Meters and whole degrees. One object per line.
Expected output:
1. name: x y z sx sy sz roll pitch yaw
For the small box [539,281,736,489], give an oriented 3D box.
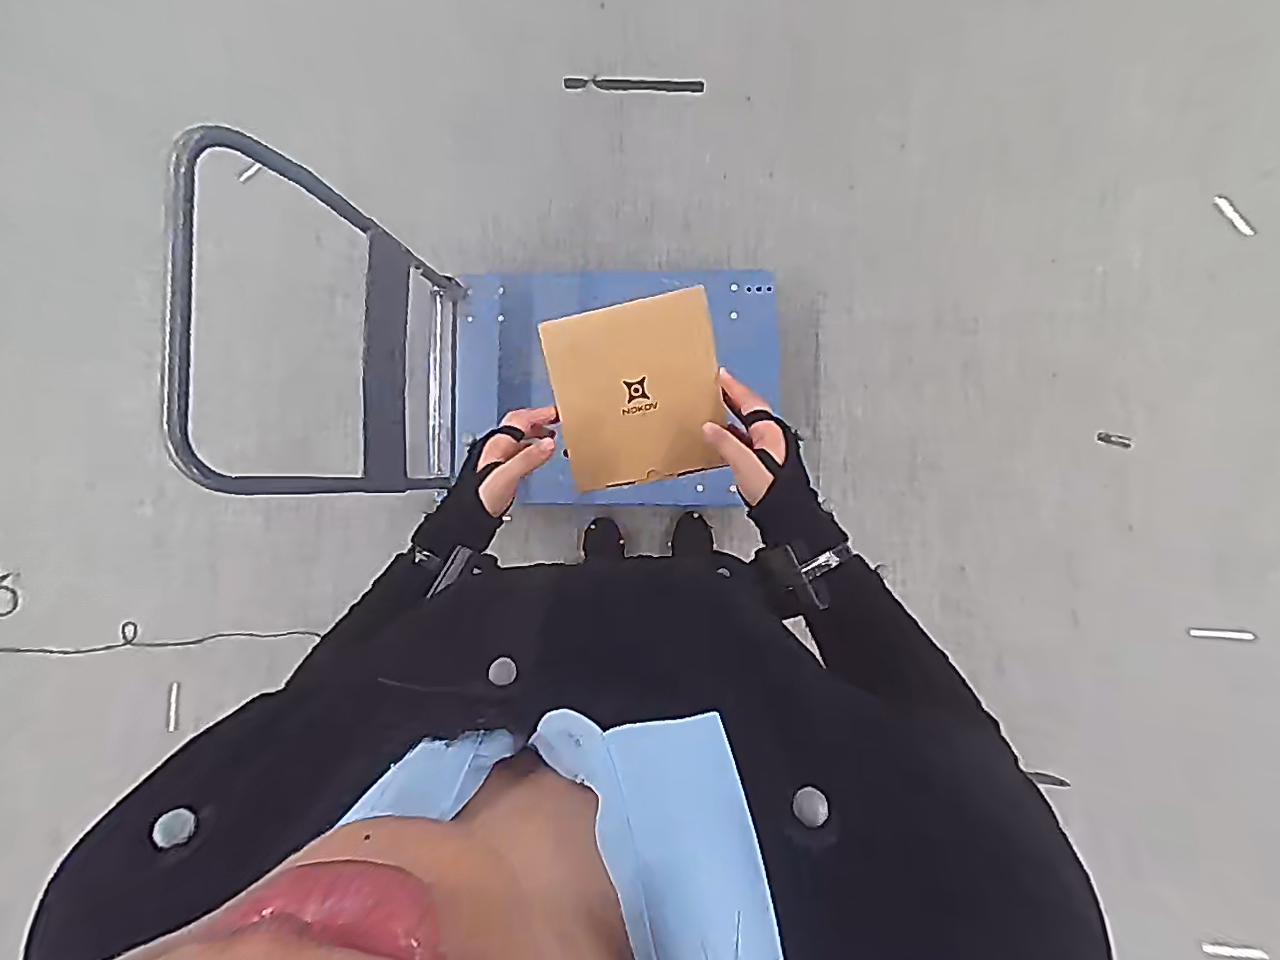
1. small box: 0.006 -0.105 0.600 0.168 0.176 0.179 -11 103 9
